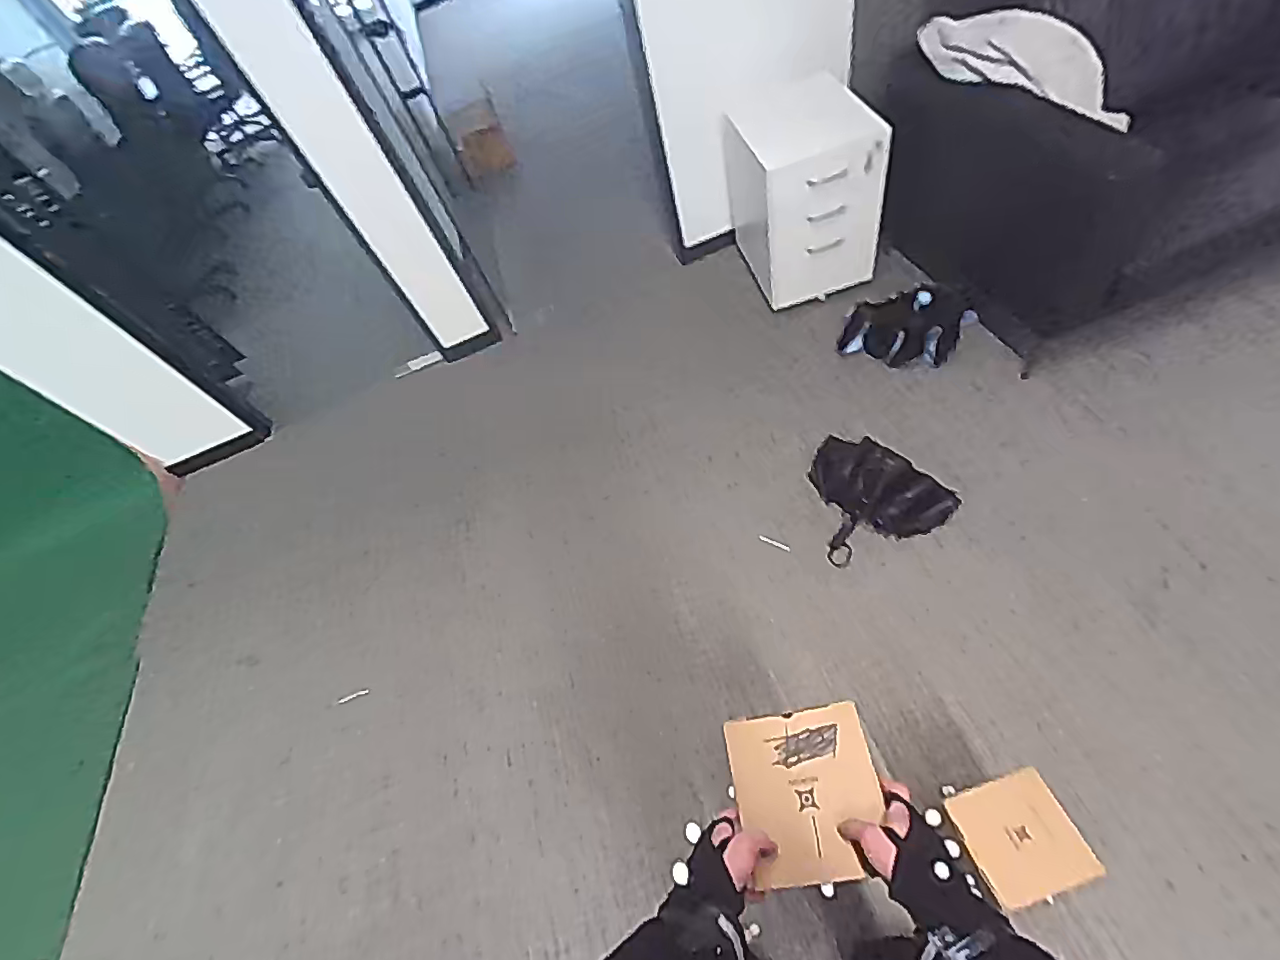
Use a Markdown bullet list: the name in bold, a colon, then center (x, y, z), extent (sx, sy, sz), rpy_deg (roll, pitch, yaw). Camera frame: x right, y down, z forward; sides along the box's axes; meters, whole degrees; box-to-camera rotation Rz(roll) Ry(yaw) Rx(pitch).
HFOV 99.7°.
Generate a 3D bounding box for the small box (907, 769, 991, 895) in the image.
- **small box**: center (0.673, 0.719, 1.107), extent (0.179, 0.176, 0.168), rpy_deg (-23, 54, 0)

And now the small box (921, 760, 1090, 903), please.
- **small box**: center (0.637, 0.631, 0.975), extent (0.179, 0.176, 0.168), rpy_deg (-21, 55, -1)

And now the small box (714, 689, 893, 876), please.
- **small box**: center (0.198, 0.384, 0.683), extent (0.168, 0.176, 0.179), rpy_deg (-14, 55, 10)
